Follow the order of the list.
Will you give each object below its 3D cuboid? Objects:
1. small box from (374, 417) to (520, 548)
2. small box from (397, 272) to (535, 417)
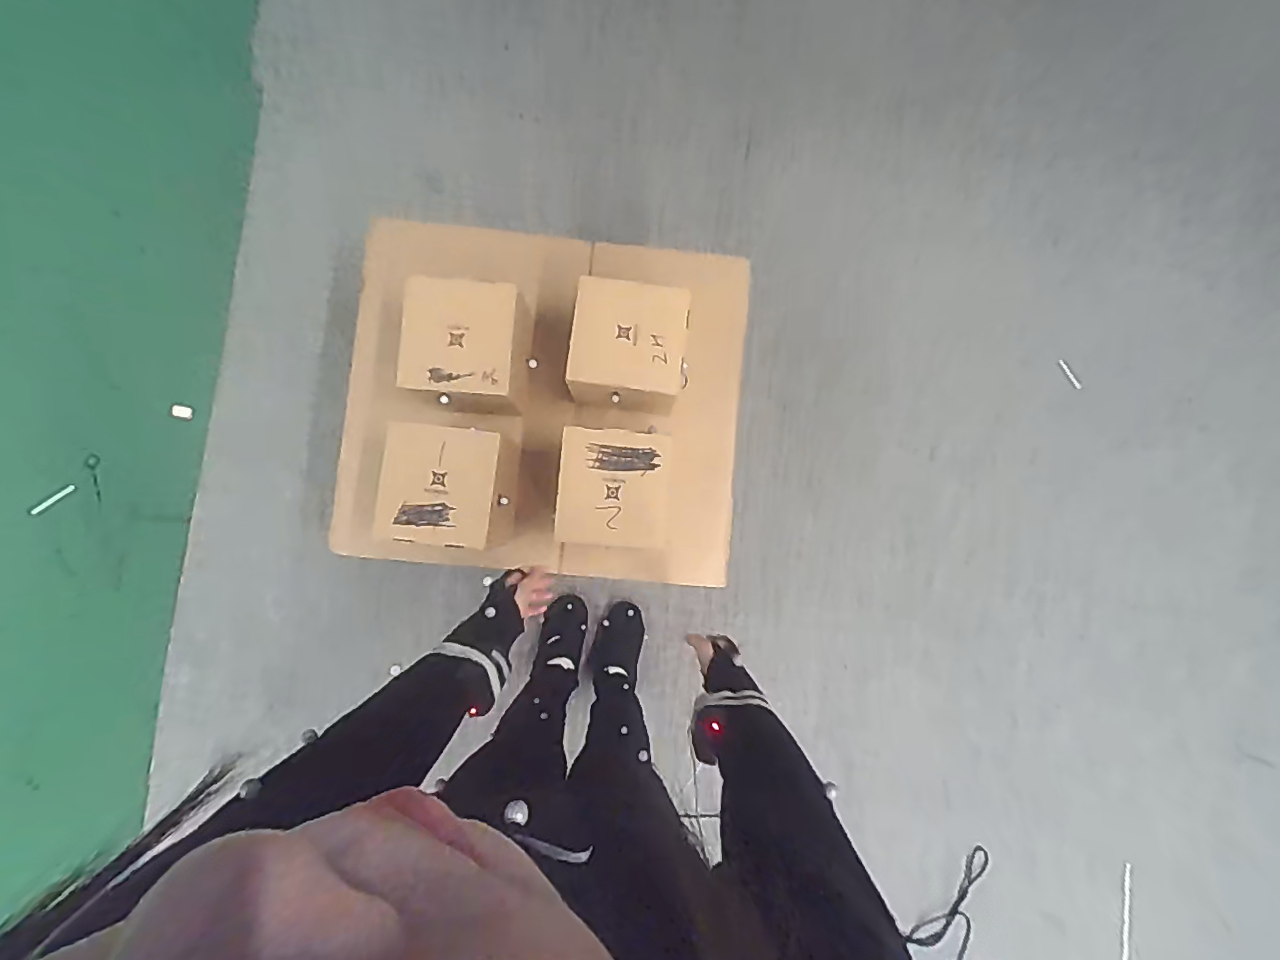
[{"bbox_3d":[-0.296,0.008,0.867,0.168,0.176,0.179,7,85,-1],"label":"small box"},{"bbox_3d":[-0.271,-0.212,0.883,0.168,0.176,0.179,4,84,0],"label":"small box"}]
